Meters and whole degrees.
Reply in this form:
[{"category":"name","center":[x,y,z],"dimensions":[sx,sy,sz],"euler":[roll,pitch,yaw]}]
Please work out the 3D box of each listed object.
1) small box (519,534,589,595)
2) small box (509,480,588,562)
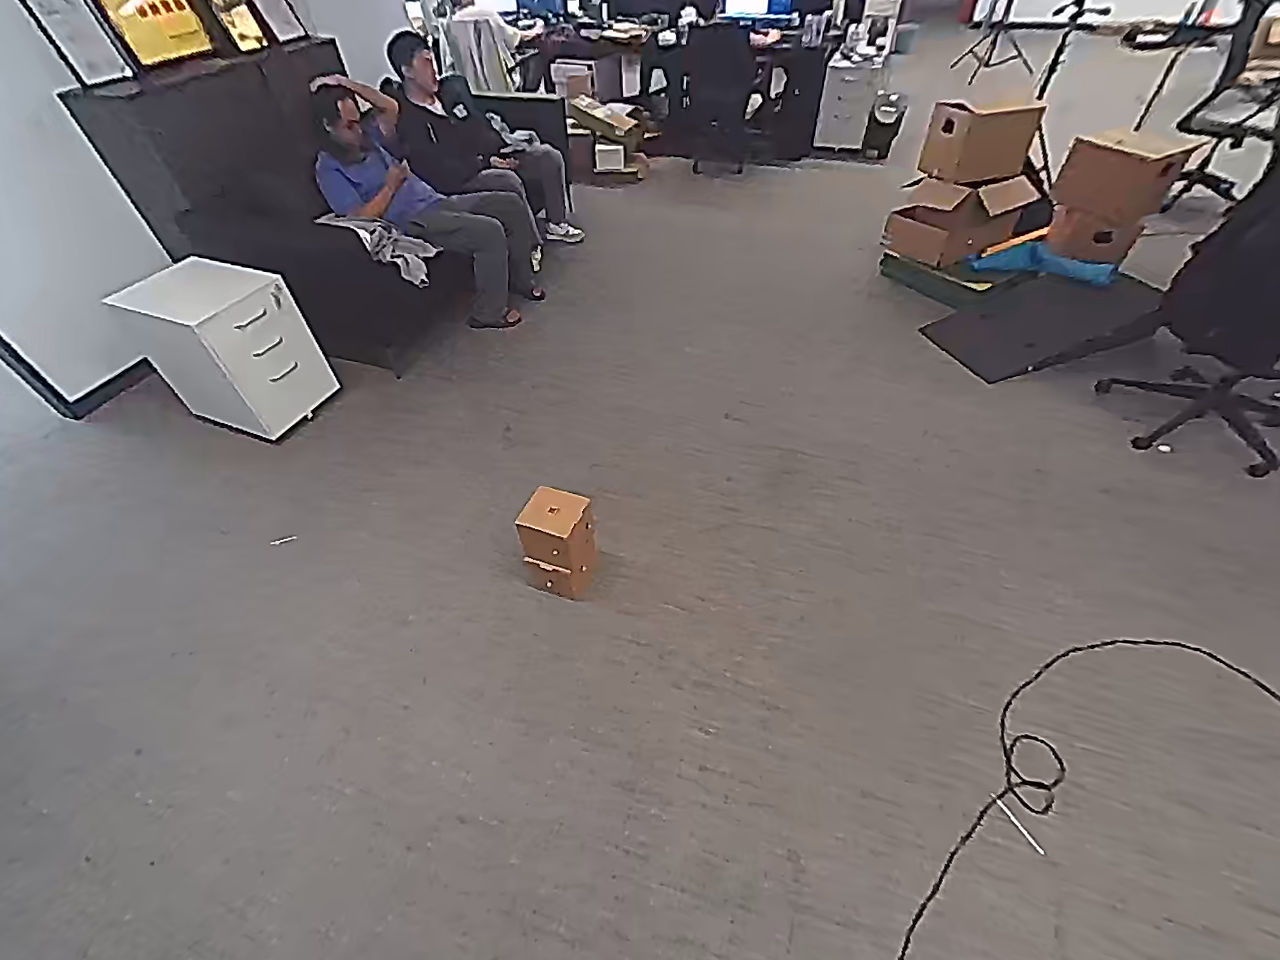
[{"category":"small box","center":[-0.277,0.255,1.799],"dimensions":[0.168,0.176,0.179],"euler":[13,49,15]},{"category":"small box","center":[-0.273,0.130,1.668],"dimensions":[0.179,0.176,0.168],"euler":[14,48,15]}]
